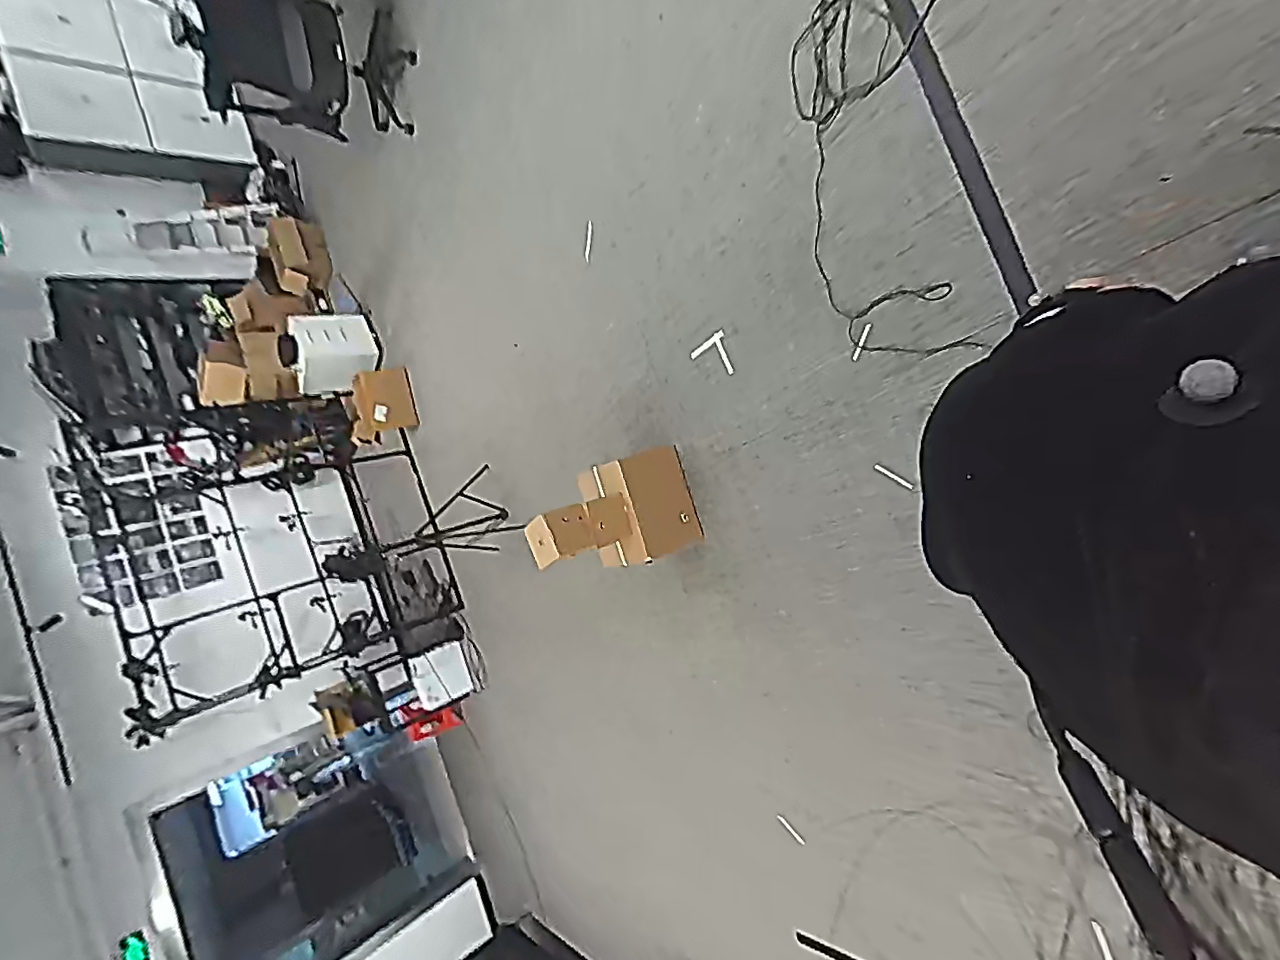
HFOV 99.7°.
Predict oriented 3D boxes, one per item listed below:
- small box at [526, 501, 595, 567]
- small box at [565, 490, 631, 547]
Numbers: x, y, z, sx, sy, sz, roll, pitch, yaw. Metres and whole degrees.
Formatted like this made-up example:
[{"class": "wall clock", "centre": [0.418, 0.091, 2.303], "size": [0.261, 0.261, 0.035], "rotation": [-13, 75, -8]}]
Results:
[{"class": "small box", "centre": [-0.281, 0.192, 1.957], "size": [0.179, 0.176, 0.168], "rotation": [-37, 74, 50]}, {"class": "small box", "centre": [-0.154, 0.147, 2.049], "size": [0.168, 0.176, 0.179], "rotation": [-13, 92, 50]}]
